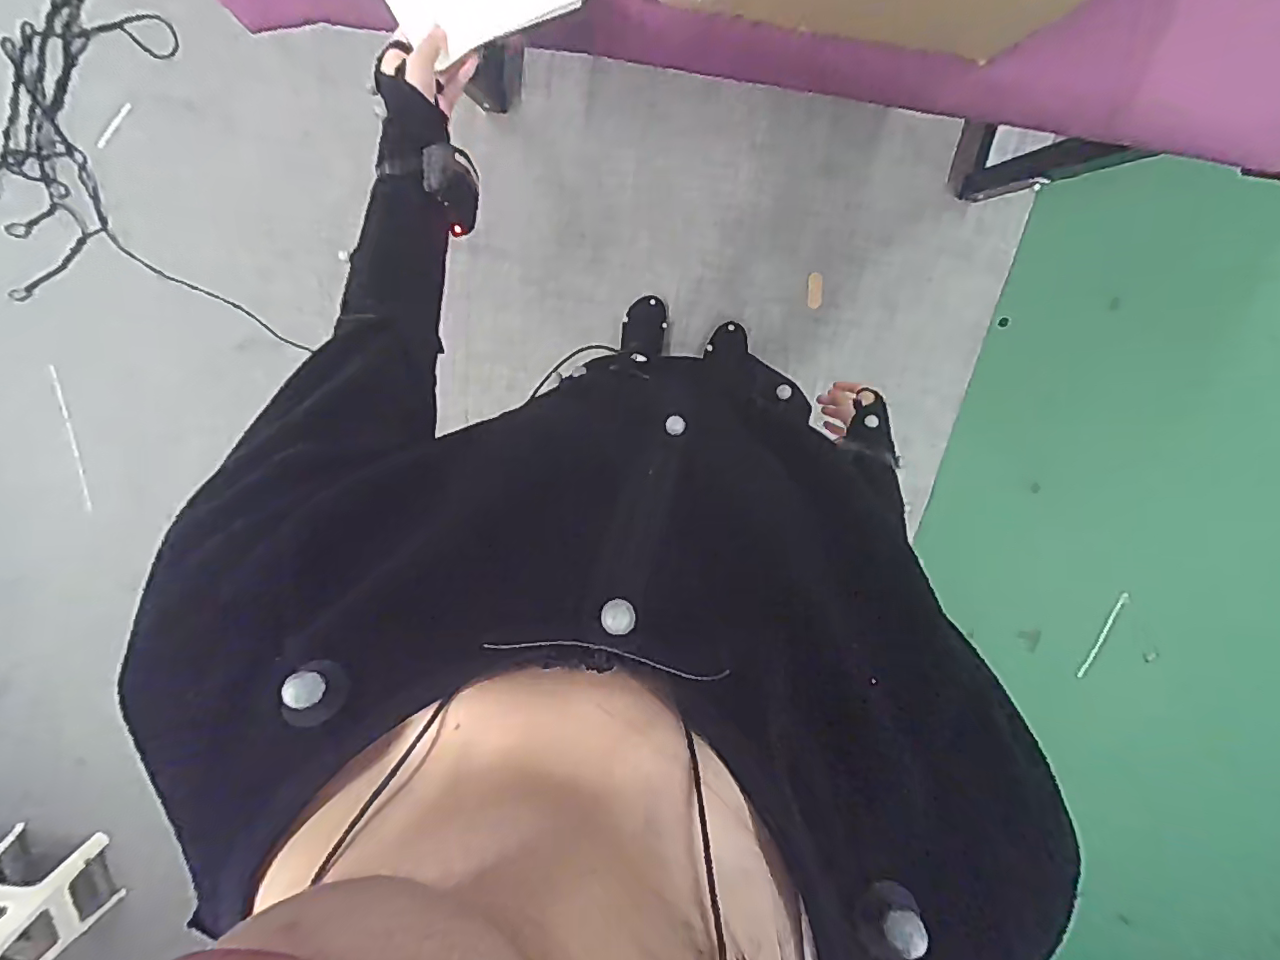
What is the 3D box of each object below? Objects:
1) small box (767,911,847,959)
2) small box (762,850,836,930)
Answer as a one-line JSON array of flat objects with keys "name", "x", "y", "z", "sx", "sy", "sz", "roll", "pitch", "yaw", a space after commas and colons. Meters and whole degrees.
[{"name": "small box", "x": 0.436, "y": 1.257, "z": 1.396, "sx": 0.179, "sy": 0.176, "sz": 0.168, "roll": 2, "pitch": 109, "yaw": 3}, {"name": "small box", "x": 0.447, "y": 1.197, "z": 1.546, "sx": 0.168, "sy": 0.176, "sz": 0.179, "roll": 1, "pitch": 109, "yaw": 3}]
